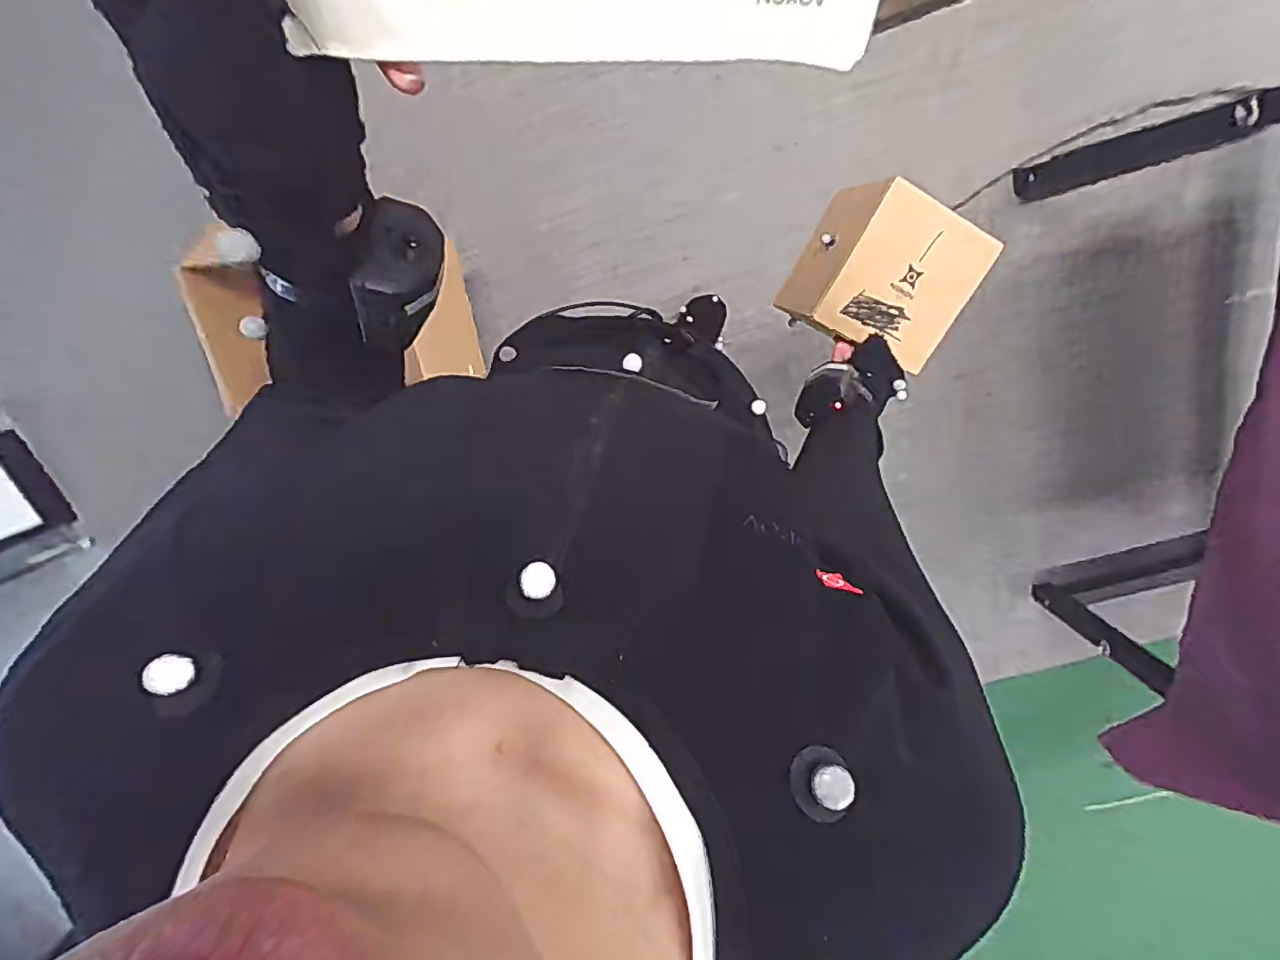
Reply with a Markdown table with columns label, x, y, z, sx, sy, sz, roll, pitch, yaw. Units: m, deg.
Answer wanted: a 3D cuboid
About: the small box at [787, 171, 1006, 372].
| label | x | y | z | sx | sy | sz | roll | pitch | yaw |
| --- | --- | --- | --- | --- | --- | --- | --- | --- | --- |
| small box | 0.317 | -0.271 | 0.717 | 0.168 | 0.176 | 0.179 | 24 | 109 | -14 |
